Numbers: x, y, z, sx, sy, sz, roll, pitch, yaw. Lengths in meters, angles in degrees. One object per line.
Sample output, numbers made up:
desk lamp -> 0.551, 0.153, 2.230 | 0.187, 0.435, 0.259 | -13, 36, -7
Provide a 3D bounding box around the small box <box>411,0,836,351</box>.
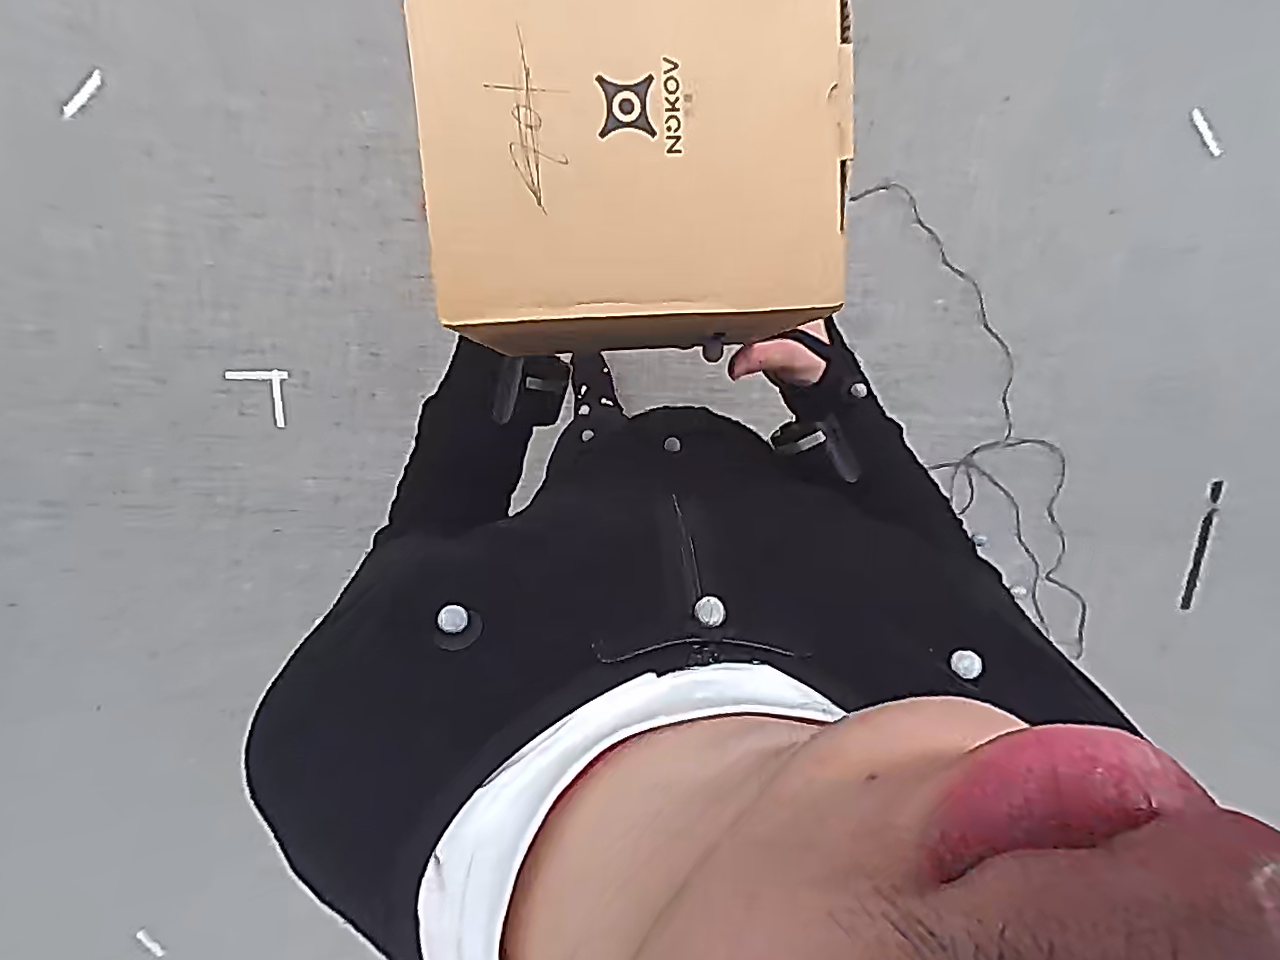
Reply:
small box -> -0.008, -0.166, 0.306 | 0.179, 0.176, 0.168 | -4, 99, -3
